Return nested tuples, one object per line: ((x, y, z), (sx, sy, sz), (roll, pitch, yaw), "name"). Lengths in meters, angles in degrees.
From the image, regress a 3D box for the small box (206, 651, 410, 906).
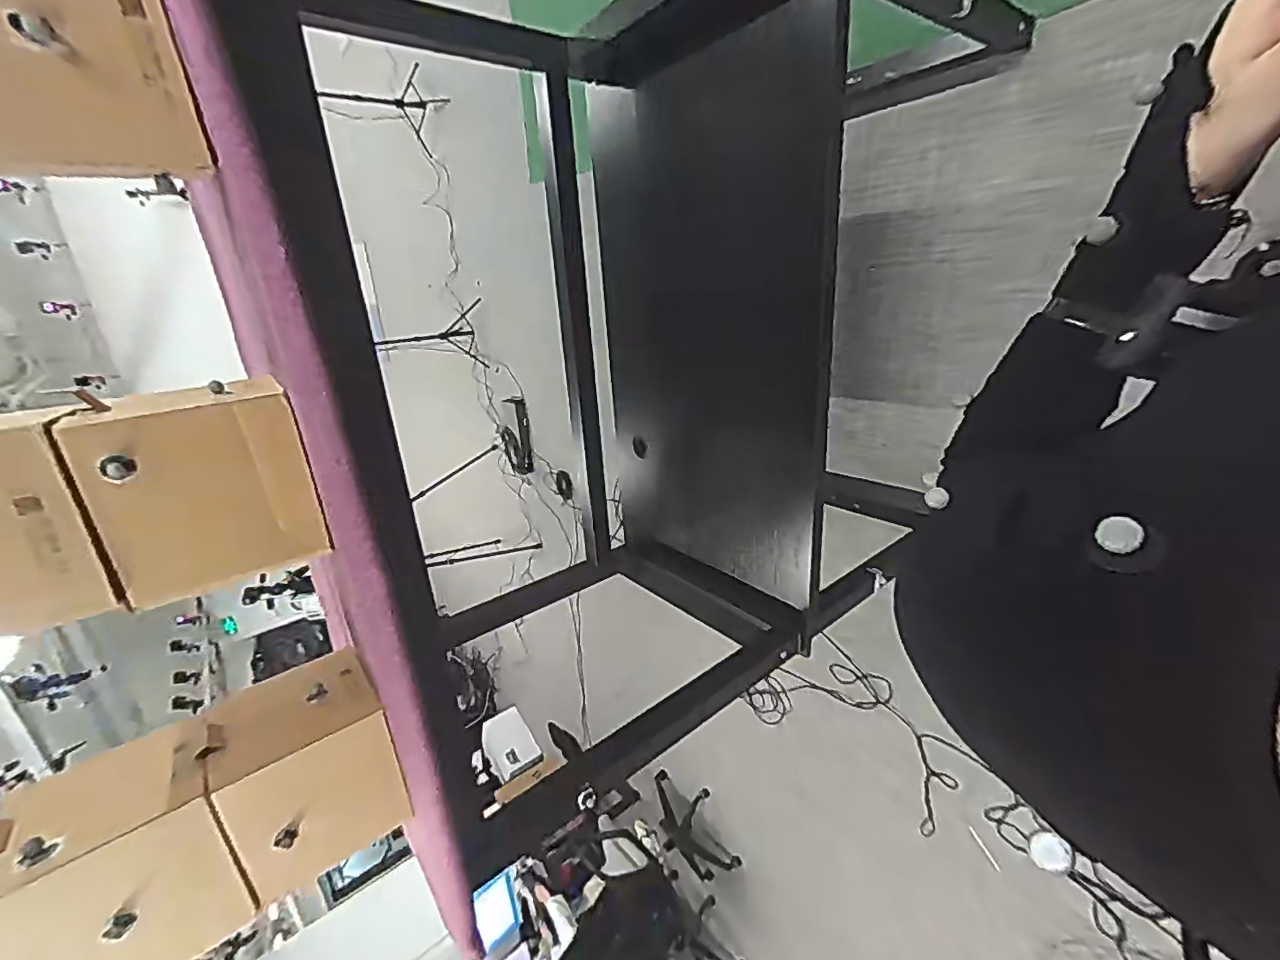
((-0.401, 0.348, 0.666), (0.168, 0.176, 0.179), (18, 119, 48), "small box")

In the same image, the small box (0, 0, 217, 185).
((-0.471, -0.336, 0.437), (0.179, 0.176, 0.168), (30, 130, 46), "small box")

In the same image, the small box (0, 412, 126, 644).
((-0.567, 0.039, 0.468), (0.179, 0.176, 0.168), (19, 118, 52), "small box")

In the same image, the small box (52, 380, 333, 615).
((-0.438, 0.003, 0.560), (0.168, 0.176, 0.179), (21, 121, 50), "small box")
